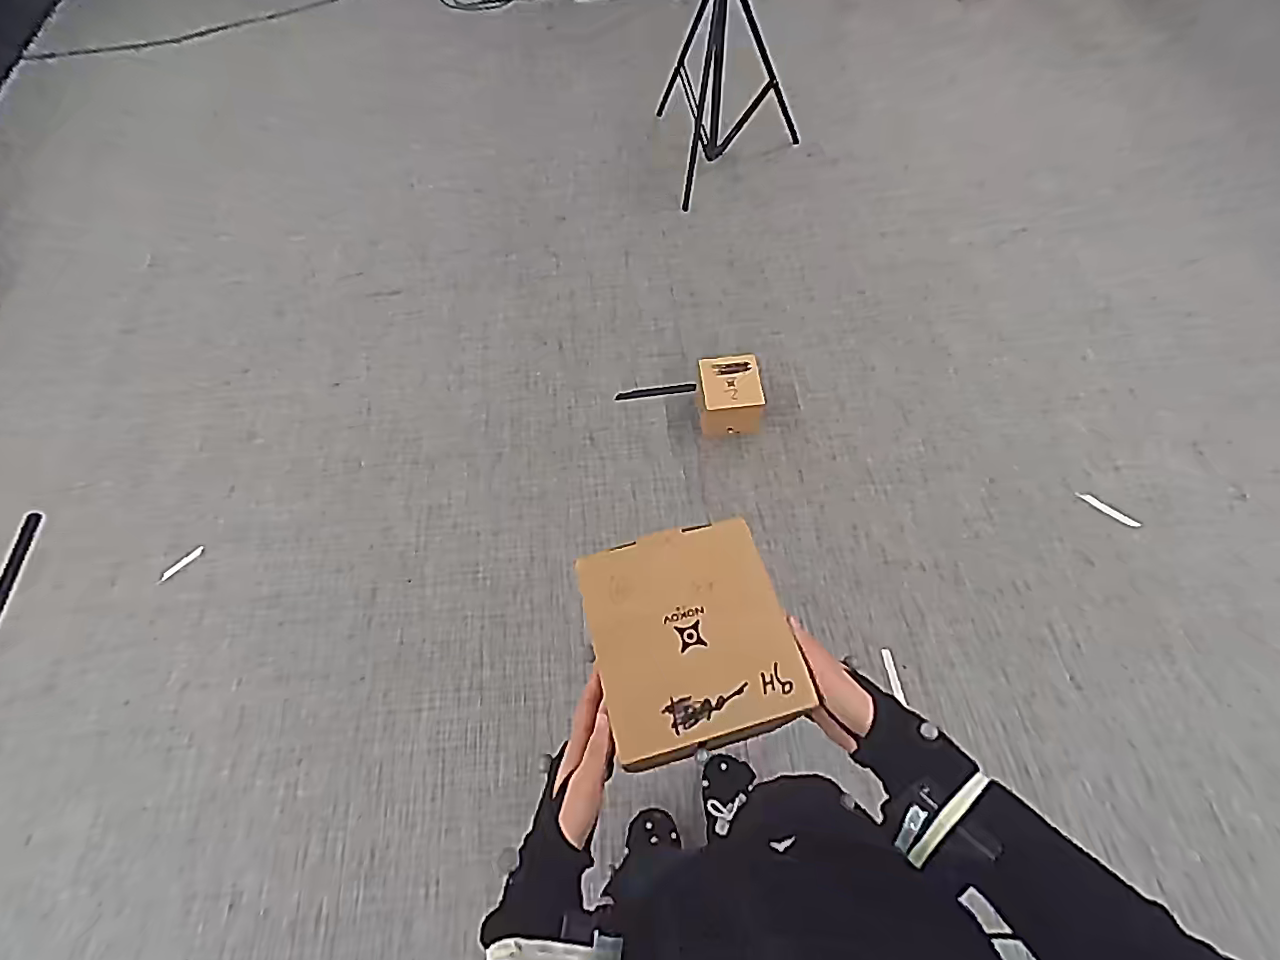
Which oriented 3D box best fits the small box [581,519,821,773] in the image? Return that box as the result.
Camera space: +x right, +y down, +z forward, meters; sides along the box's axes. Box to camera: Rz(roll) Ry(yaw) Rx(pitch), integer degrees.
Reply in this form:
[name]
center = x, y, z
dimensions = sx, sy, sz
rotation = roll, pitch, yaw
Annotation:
[small box]
center = 0.044, 0.166, 0.524
dimensions = 0.168, 0.176, 0.179
rotation = -13, 60, -7
